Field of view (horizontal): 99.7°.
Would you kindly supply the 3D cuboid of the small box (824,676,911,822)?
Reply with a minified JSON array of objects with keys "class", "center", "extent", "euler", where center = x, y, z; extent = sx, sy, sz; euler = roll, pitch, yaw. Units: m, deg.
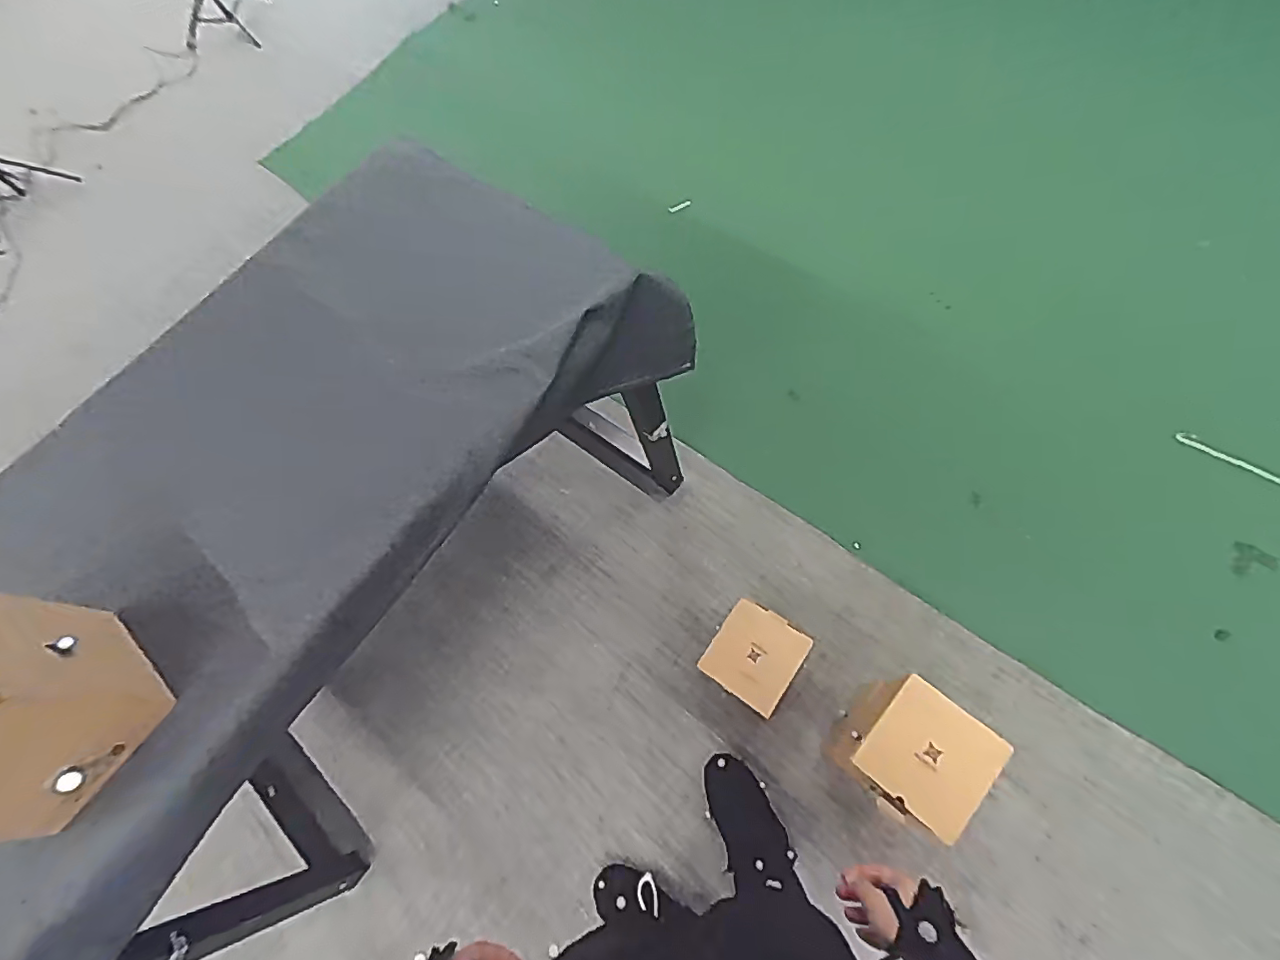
[{"class":"small box","center":[0.469,0.498,1.025],"extent":[0.168,0.176,0.179],"euler":[36,79,21]}]

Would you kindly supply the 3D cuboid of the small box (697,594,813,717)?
[{"class":"small box","center":[0.236,0.367,1.126],"extent":[0.168,0.176,0.179],"euler":[30,77,22]}]

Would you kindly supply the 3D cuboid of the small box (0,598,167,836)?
[{"class":"small box","center":[-0.650,0.237,0.544],"extent":[0.179,0.176,0.168],"euler":[33,77,21]}]

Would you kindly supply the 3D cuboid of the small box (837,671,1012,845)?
[{"class":"small box","center":[0.444,0.436,0.876],"extent":[0.168,0.176,0.179],"euler":[37,78,22]}]
